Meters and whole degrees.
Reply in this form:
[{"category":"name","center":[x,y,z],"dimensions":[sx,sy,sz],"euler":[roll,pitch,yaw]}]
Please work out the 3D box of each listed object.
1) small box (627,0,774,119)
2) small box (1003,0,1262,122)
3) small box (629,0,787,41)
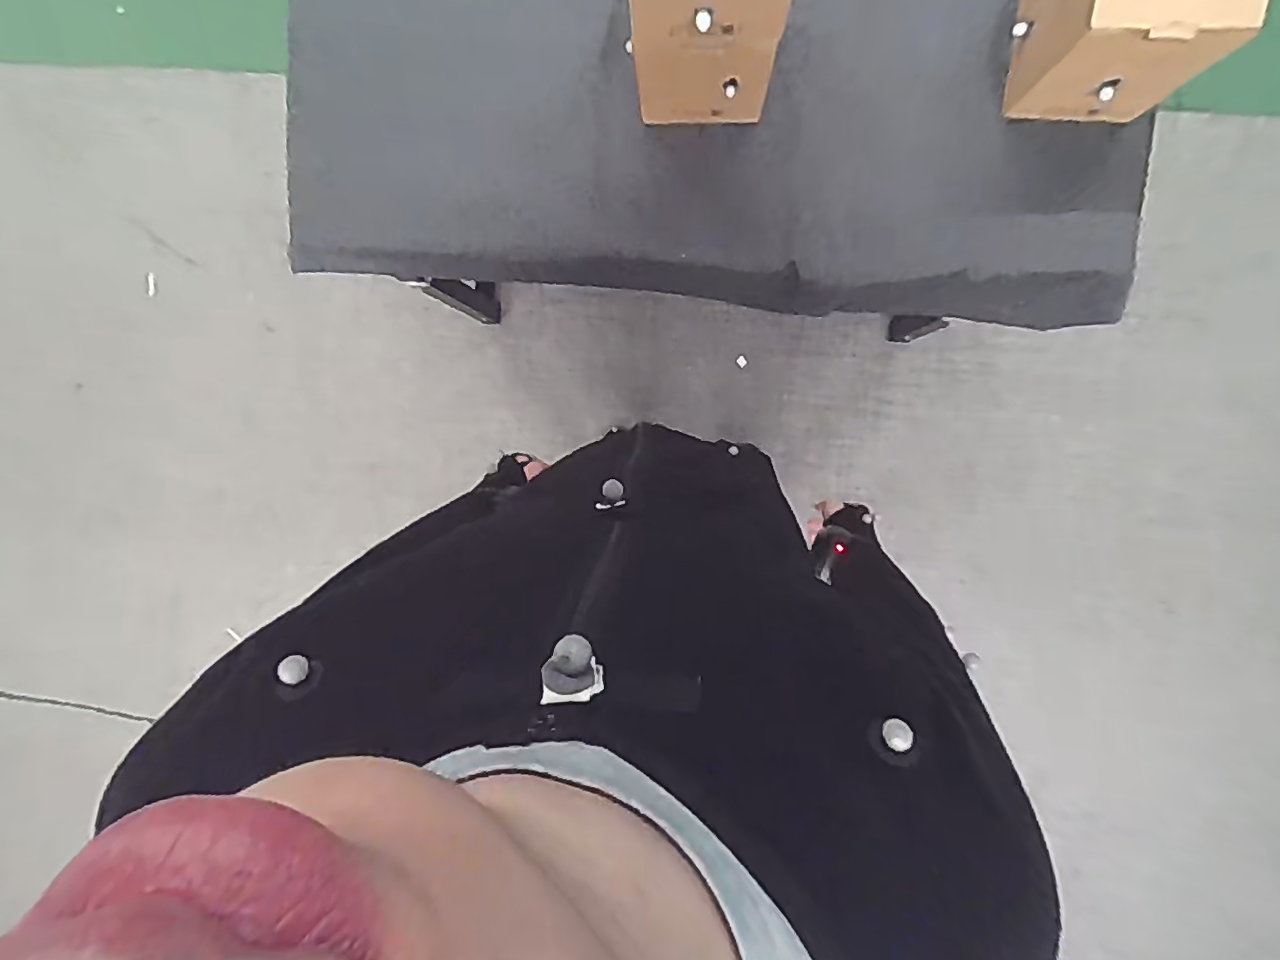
[{"category":"small box","center":[0.075,-0.577,0.663],"dimensions":[0.168,0.176,0.179],"euler":[2,94,3]},{"category":"small box","center":[0.560,-0.550,0.627],"dimensions":[0.168,0.176,0.179],"euler":[6,96,4]},{"category":"small box","center":[0.067,-0.559,0.500],"dimensions":[0.168,0.176,0.179],"euler":[2,97,3]}]
